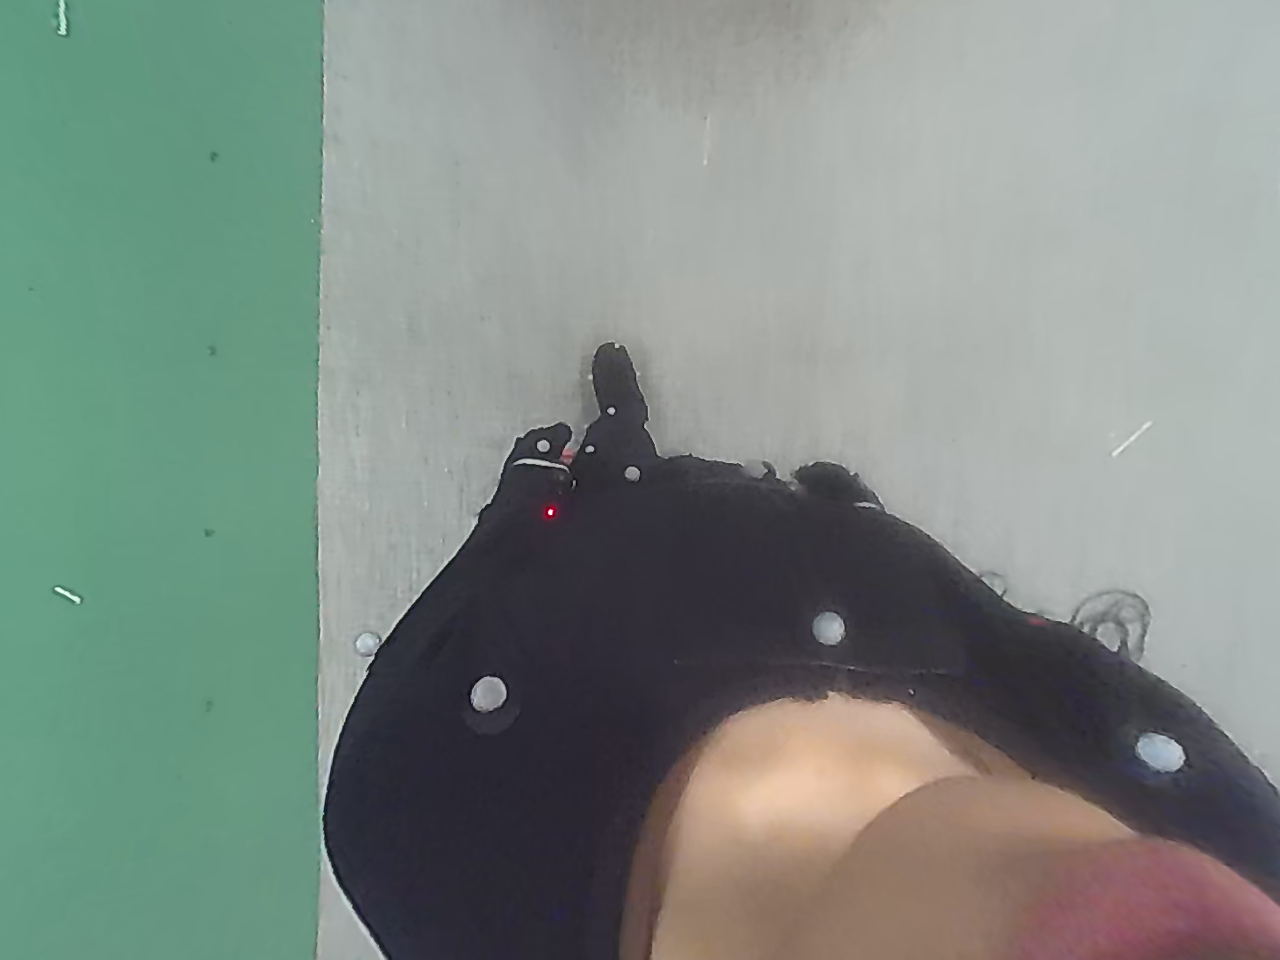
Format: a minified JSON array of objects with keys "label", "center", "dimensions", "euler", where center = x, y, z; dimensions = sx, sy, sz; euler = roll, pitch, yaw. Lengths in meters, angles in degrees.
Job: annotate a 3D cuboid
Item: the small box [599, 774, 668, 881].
[{"label":"small box","center":[-0.016,0.937,1.466],"dimensions":[0.168,0.176,0.179],"euler":[4,94,-1]}]
